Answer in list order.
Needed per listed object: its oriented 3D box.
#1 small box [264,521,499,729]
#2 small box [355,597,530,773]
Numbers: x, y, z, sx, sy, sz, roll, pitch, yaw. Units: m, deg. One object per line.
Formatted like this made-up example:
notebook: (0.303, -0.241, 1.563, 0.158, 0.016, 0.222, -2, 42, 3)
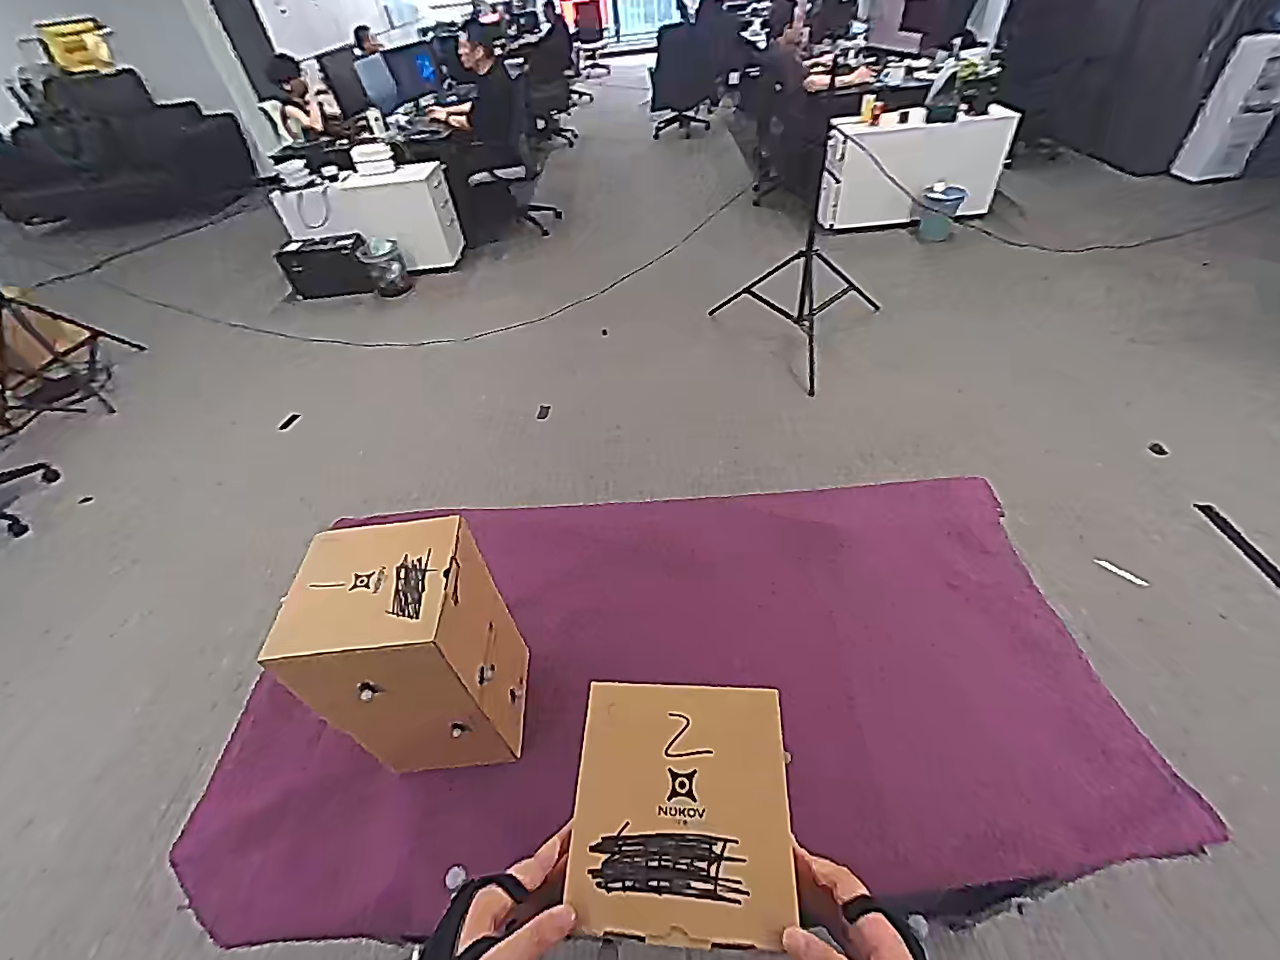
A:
small box: (-0.275, 0.171, 0.631, 0.179, 0.176, 0.168, -7, 43, 0)
small box: (-0.263, 0.286, 0.747, 0.179, 0.176, 0.168, -6, 44, 0)
